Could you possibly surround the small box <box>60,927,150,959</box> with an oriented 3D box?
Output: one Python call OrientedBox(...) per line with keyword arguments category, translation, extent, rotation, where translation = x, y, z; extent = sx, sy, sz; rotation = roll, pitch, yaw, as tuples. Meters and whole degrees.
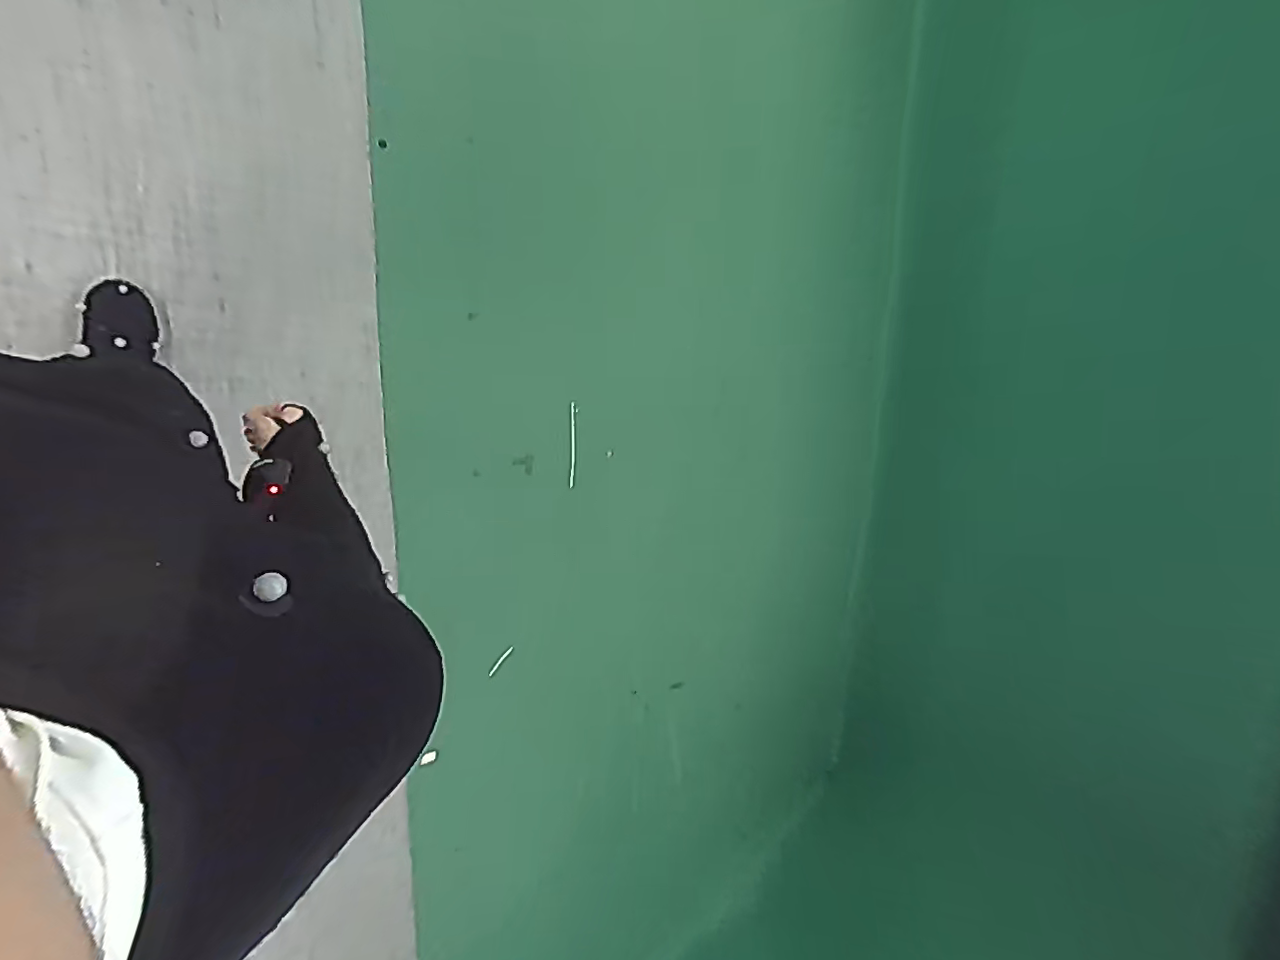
OrientedBox(category="small box", translation=(-1.098, 1.073, 1.088), extent=(0.168, 0.176, 0.179), rotation=(-7, 104, -42))
